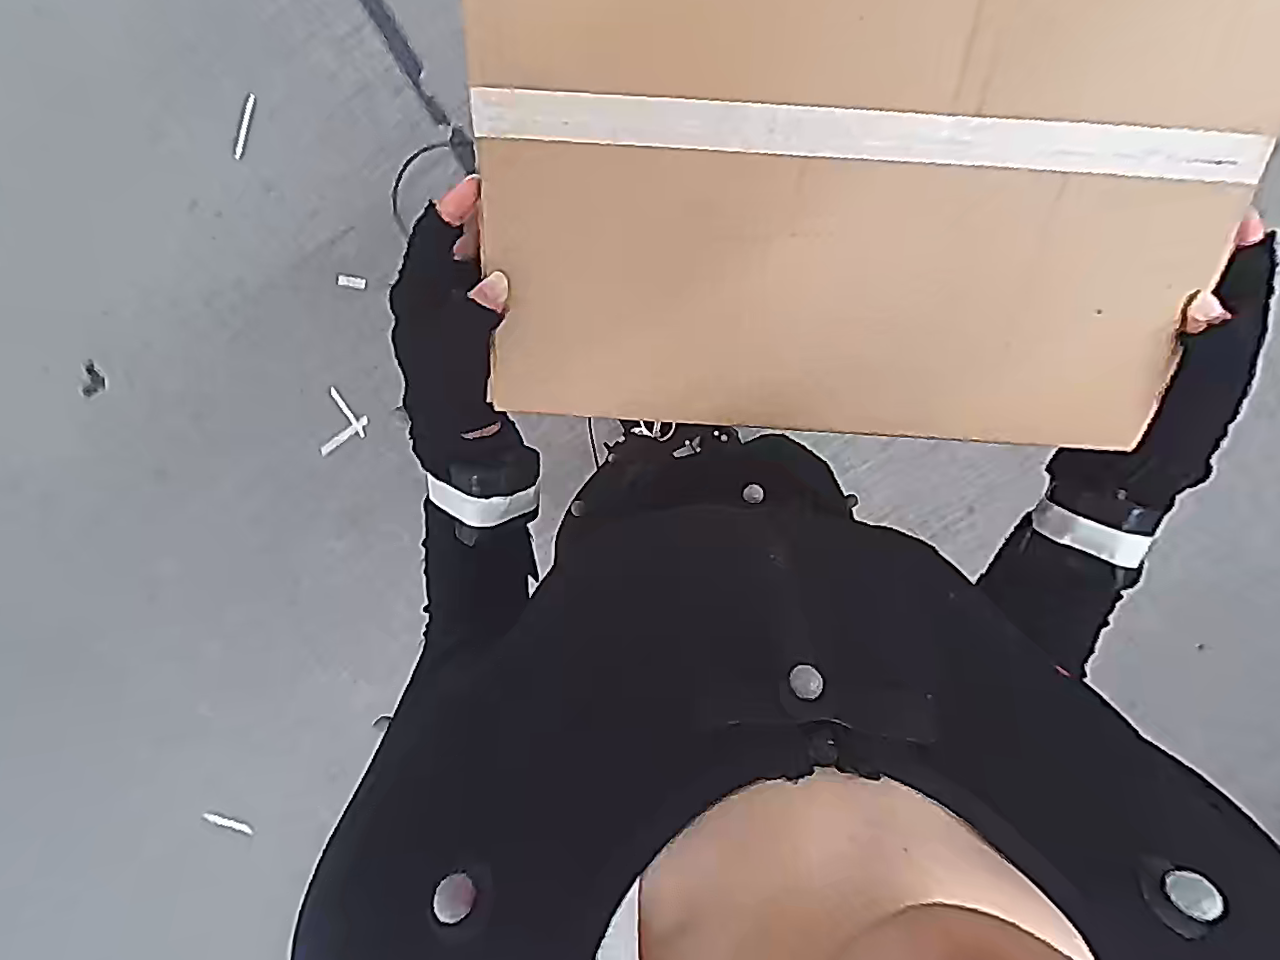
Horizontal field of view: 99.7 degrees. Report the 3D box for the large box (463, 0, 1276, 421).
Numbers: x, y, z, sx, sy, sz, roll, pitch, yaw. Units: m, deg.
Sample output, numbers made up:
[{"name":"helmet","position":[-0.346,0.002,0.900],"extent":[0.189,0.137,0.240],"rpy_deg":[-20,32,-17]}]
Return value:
[{"name":"large box","position":[0.108,-0.240,0.426],"extent":[0.408,0.320,0.320],"rpy_deg":[2,114,0]}]
